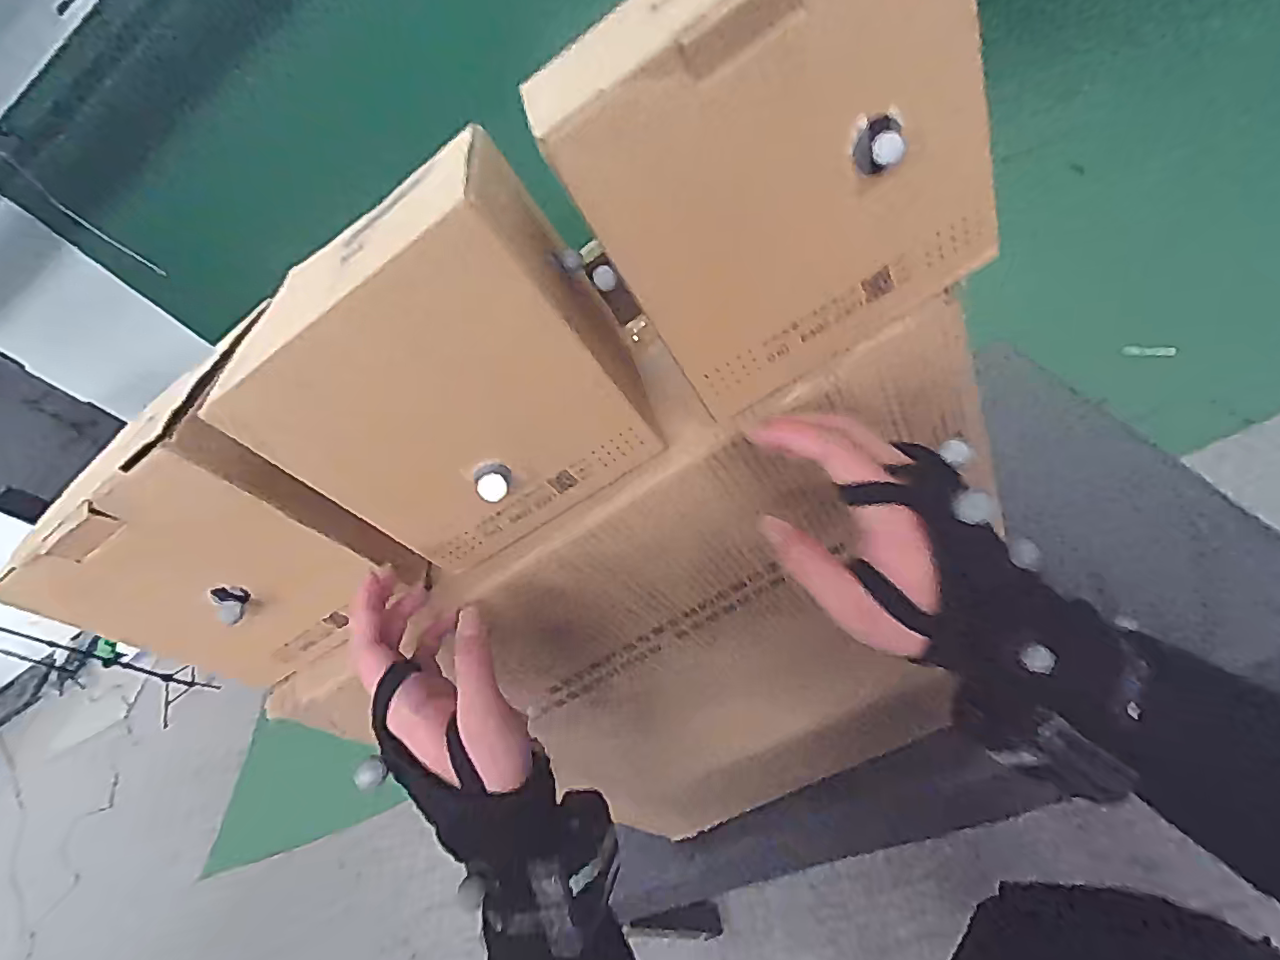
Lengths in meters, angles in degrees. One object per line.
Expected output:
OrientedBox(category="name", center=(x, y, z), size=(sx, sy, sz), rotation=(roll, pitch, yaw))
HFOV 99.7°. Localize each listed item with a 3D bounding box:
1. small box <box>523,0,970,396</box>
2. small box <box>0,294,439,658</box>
OrientedBox(category="small box", center=(0.054, -0.173, 0.303), size=(0.168, 0.176, 0.179), rotation=(-29, 41, 10))
OrientedBox(category="small box", center=(-0.270, 0.009, 0.395), size=(0.168, 0.176, 0.179), rotation=(-31, 42, 14))
